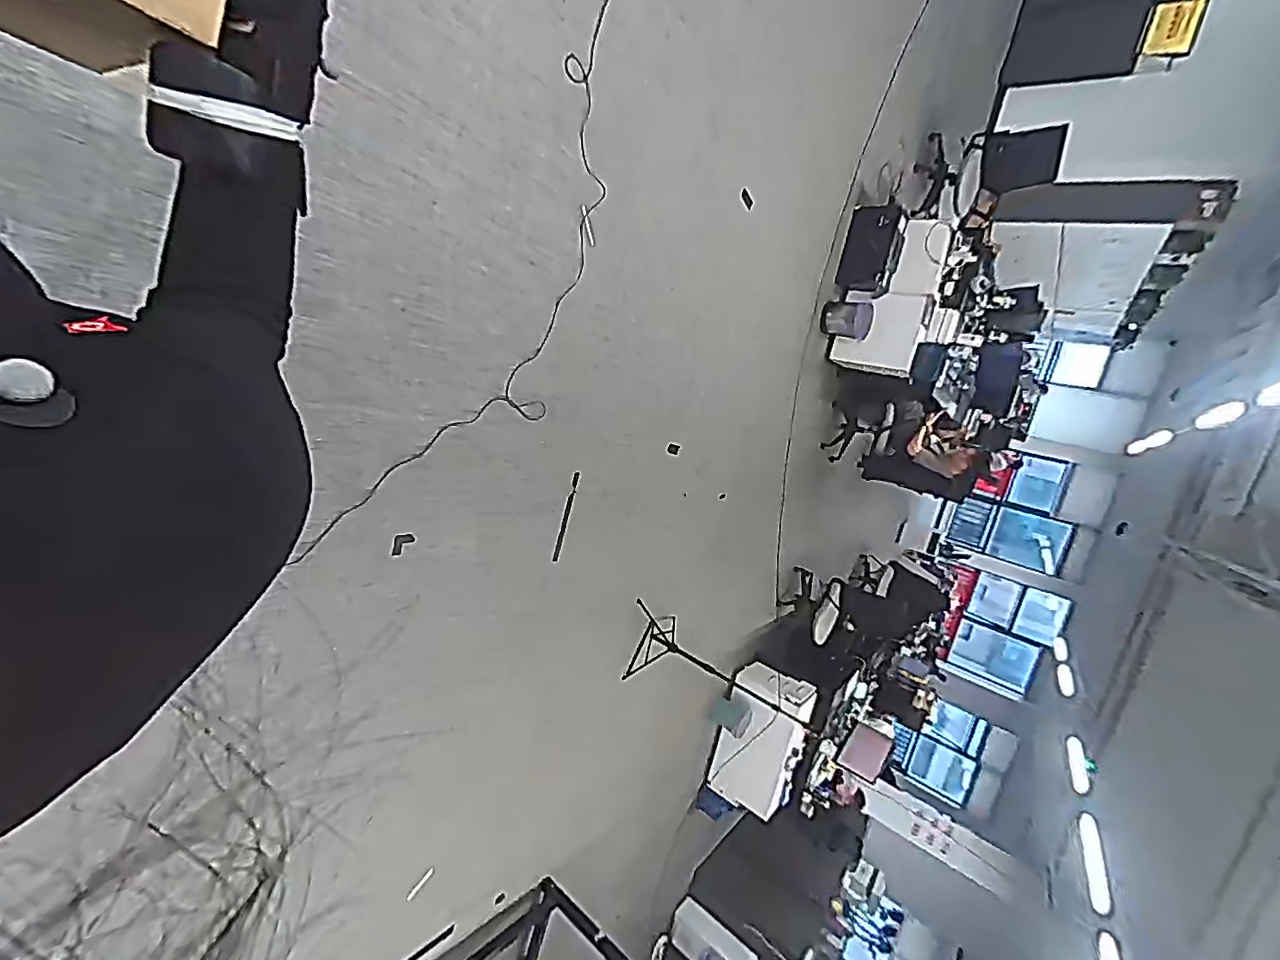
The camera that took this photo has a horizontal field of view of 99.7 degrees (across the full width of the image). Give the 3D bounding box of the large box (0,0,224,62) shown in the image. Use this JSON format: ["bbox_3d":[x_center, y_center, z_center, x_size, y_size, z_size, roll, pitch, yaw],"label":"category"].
[{"bbox_3d":[-0.444,-0.459,0.216,0.408,0.320,0.320,1,112,-55],"label":"large box"}]
